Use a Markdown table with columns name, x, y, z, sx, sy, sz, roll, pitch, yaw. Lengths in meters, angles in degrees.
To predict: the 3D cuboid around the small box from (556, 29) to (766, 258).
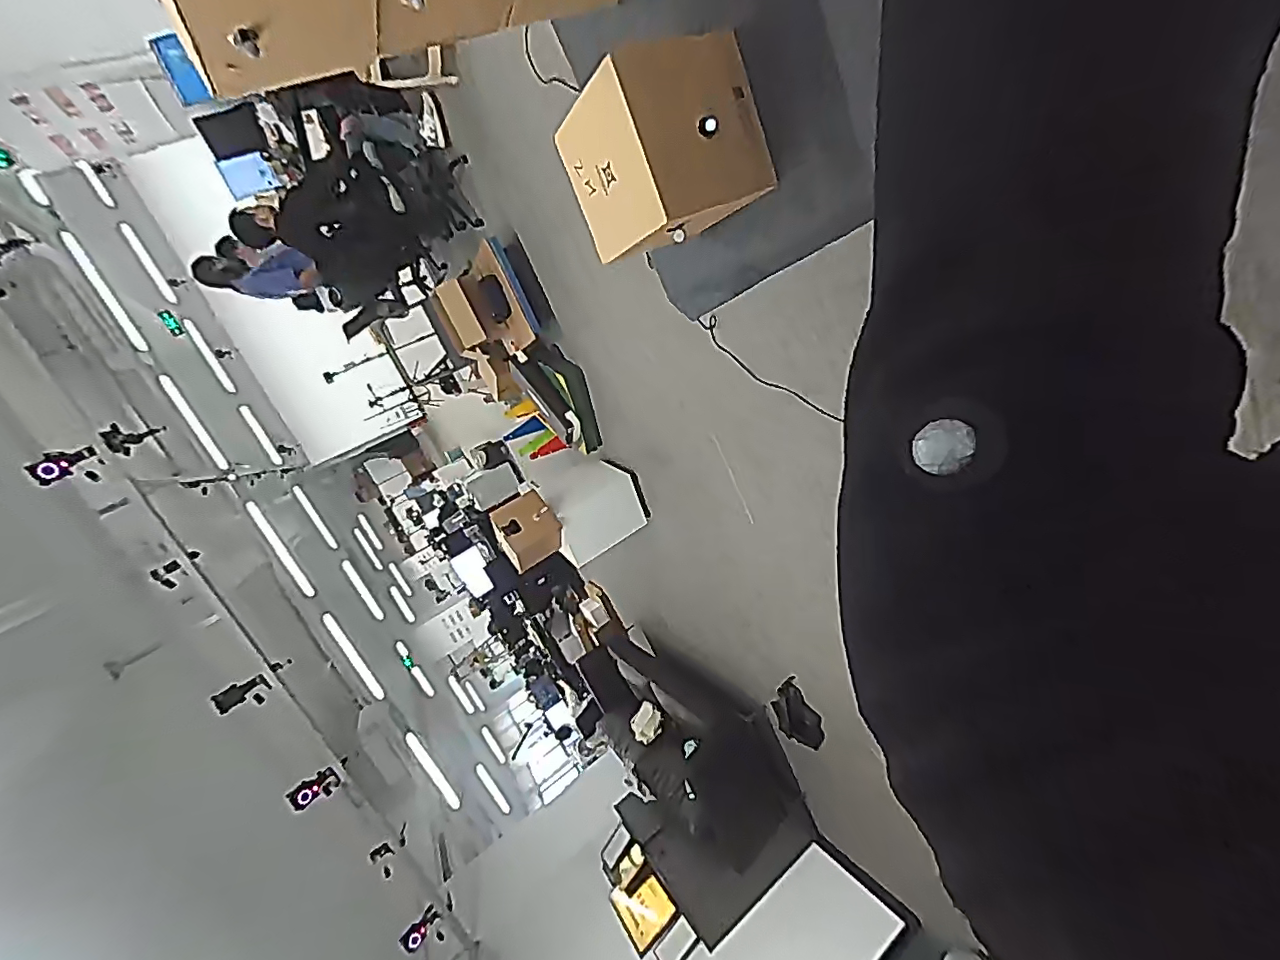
| name | x | y | z | sx | sy | sz | roll | pitch | yaw |
| --- | --- | --- | --- | --- | --- | --- | --- | --- | --- |
| small box | 0.029 | -0.397 | 0.653 | 0.179 | 0.176 | 0.168 | 10 | 126 | 62 |

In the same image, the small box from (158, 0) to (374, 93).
| name | x | y | z | sx | sy | sz | roll | pitch | yaw |
| --- | --- | --- | --- | --- | --- | --- | --- | --- | --- |
| small box | -0.347 | -0.484 | 0.461 | 0.168 | 0.176 | 0.179 | 61 | 158 | -14 |

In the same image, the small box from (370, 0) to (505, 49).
| name | x | y | z | sx | sy | sz | roll | pitch | yaw |
| --- | --- | --- | --- | --- | --- | --- | --- | --- | --- |
| small box | -0.225 | -0.576 | 0.521 | 0.168 | 0.176 | 0.179 | 60 | 158 | -12 |
